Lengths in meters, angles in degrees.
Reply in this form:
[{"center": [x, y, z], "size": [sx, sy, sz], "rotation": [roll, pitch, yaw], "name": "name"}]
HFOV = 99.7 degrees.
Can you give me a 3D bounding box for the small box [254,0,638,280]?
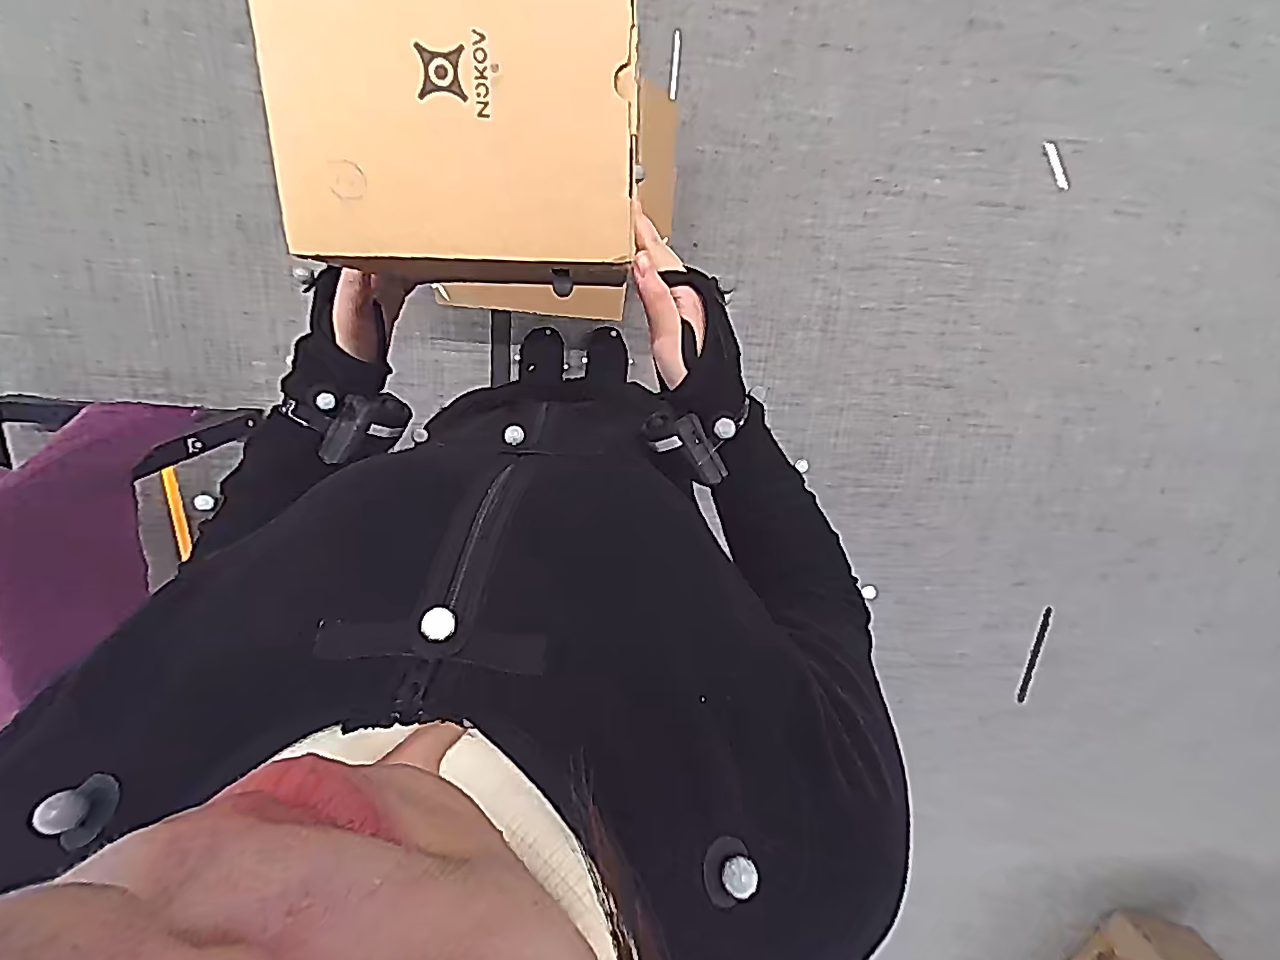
[{"center": [-0.093, -0.216, 0.331], "size": [0.179, 0.176, 0.168], "rotation": [-1, 106, -5], "name": "small box"}]
